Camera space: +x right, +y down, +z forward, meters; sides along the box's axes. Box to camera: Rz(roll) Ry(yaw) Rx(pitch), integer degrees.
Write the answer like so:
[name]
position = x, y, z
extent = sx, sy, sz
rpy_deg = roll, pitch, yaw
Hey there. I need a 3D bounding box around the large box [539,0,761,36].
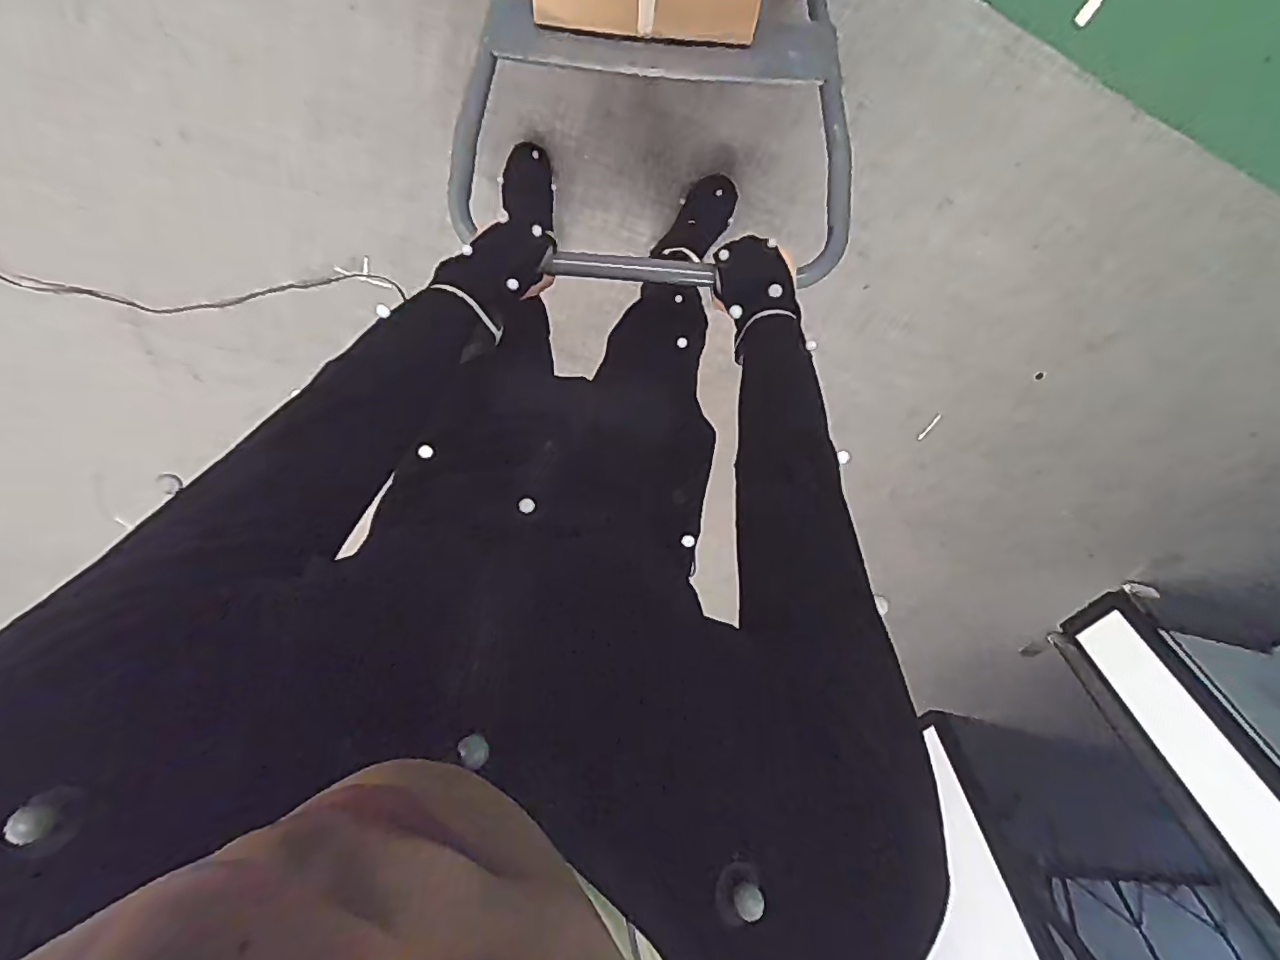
[large box]
position = 0.028, -0.874, 0.676
extent = 0.320, 0.320, 0.408
rpy_deg = 4, 152, -1
